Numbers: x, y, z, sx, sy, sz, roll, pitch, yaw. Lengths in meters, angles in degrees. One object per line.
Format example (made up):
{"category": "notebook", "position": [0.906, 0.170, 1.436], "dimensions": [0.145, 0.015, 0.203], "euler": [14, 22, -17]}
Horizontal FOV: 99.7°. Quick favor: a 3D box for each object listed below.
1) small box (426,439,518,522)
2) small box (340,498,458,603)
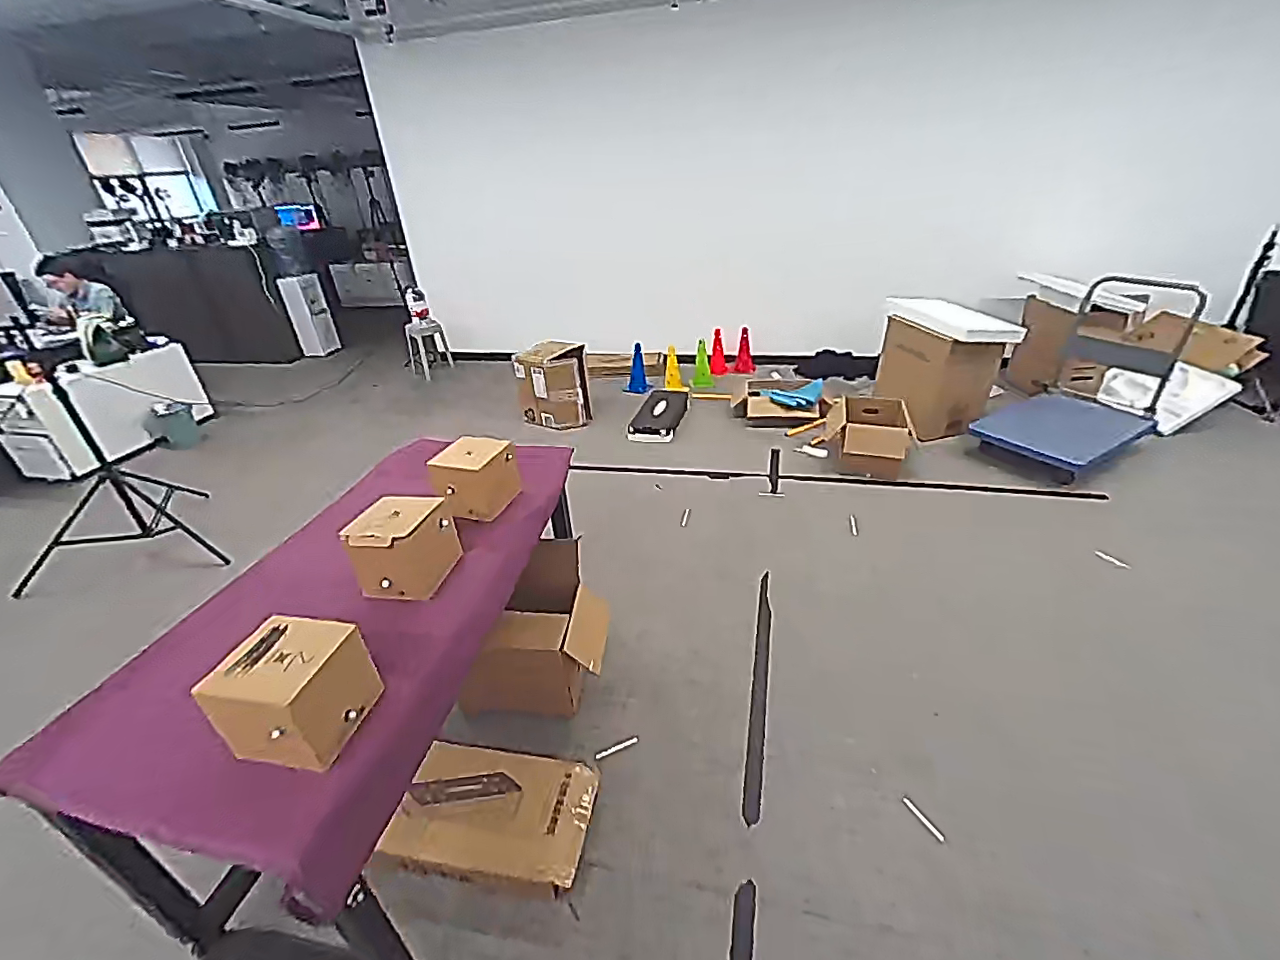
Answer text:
{"category": "small box", "position": [-0.459, 0.001, 1.511], "dimensions": [0.168, 0.176, 0.179], "euler": [6, 31, 17]}
{"category": "small box", "position": [-0.541, 0.159, 1.246], "dimensions": [0.168, 0.176, 0.179], "euler": [0, 30, 12]}
